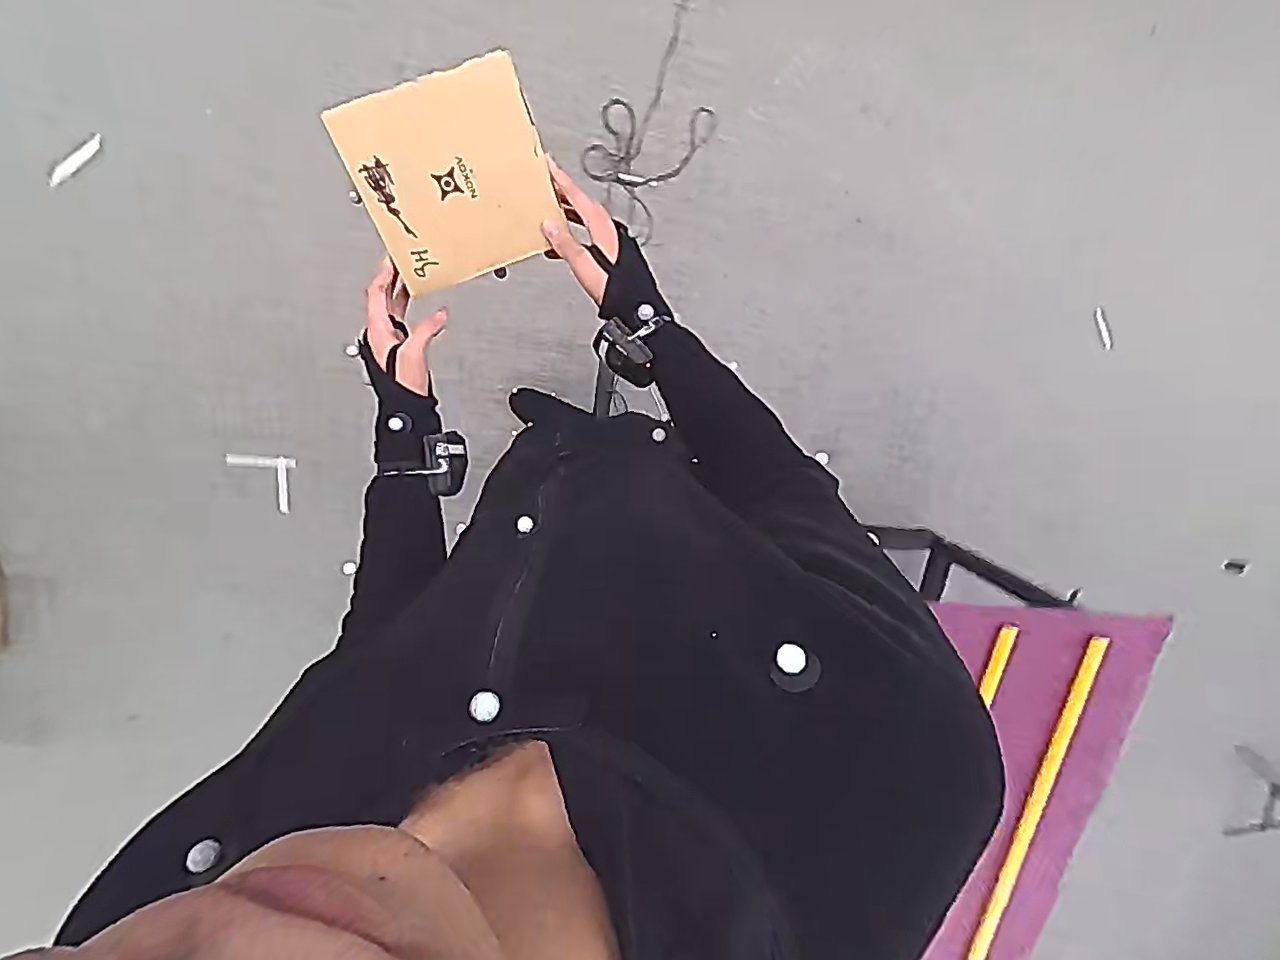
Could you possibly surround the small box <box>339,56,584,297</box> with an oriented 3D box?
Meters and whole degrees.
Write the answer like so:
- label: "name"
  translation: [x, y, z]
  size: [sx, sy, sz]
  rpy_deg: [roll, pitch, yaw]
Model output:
- label: "small box"
  translation: [-0.176, -0.312, 0.576]
  size: [0.179, 0.176, 0.168]
  rpy_deg: [-20, 118, -4]
